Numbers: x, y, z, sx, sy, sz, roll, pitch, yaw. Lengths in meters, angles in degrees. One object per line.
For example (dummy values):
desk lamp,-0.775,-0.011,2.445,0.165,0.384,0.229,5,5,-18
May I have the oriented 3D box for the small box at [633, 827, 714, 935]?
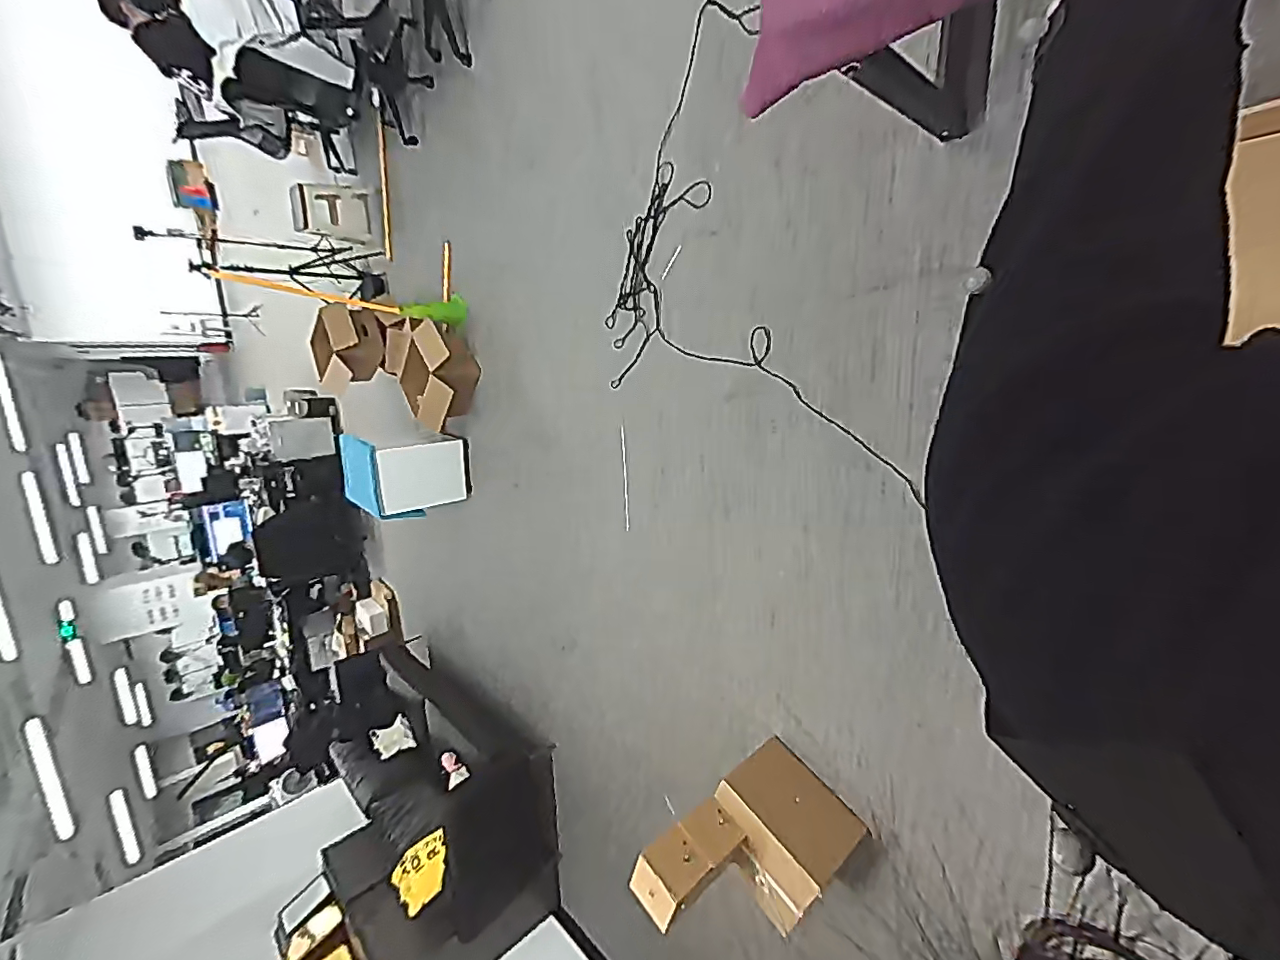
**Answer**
small box,0.106,1.236,1.675,0.168,0.176,0.179,34,123,38
